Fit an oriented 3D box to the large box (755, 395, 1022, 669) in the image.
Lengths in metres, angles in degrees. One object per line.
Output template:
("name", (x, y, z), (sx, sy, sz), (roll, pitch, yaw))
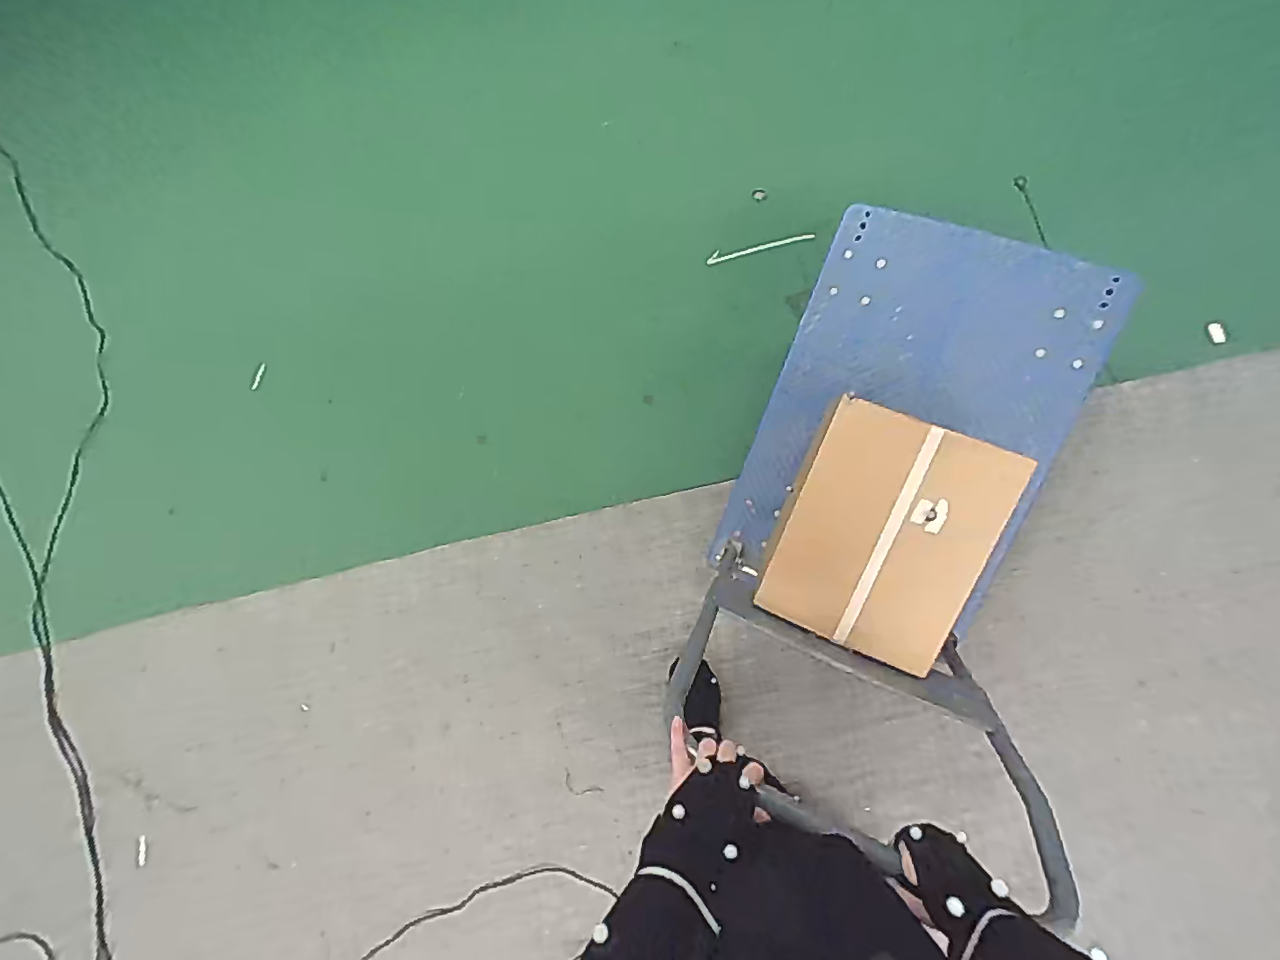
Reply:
("large box", (0.449, 0.080, 1.072), (0.320, 0.320, 0.408), (23, 100, 11))
